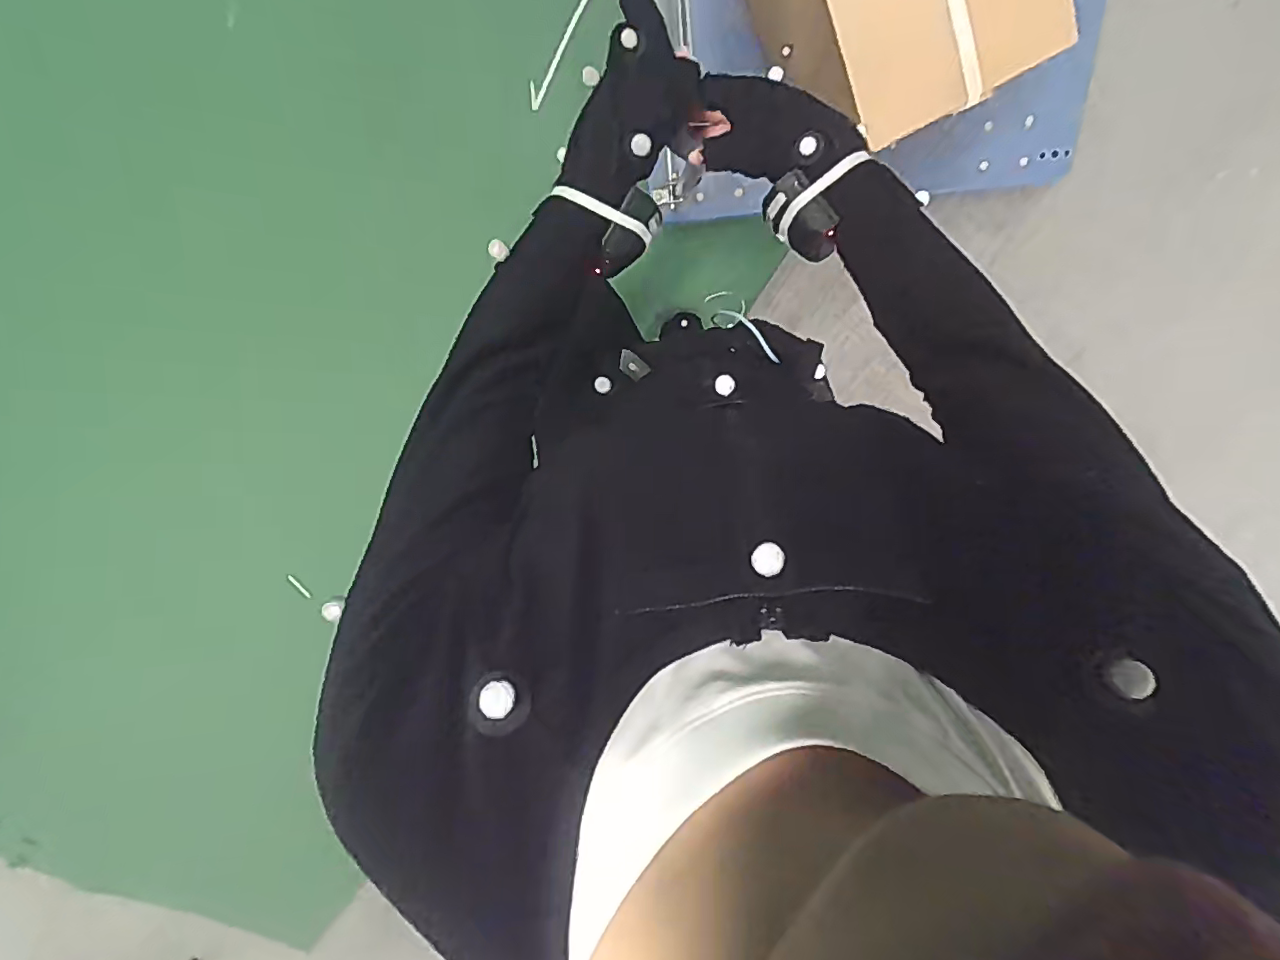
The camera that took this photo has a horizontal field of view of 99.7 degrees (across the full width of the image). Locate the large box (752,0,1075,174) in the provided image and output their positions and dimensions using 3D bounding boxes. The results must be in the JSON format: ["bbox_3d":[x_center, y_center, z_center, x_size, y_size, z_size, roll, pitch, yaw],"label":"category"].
[{"bbox_3d":[0.390,-0.782,0.858,0.320,0.320,0.408,-25,110,8],"label":"large box"}]
